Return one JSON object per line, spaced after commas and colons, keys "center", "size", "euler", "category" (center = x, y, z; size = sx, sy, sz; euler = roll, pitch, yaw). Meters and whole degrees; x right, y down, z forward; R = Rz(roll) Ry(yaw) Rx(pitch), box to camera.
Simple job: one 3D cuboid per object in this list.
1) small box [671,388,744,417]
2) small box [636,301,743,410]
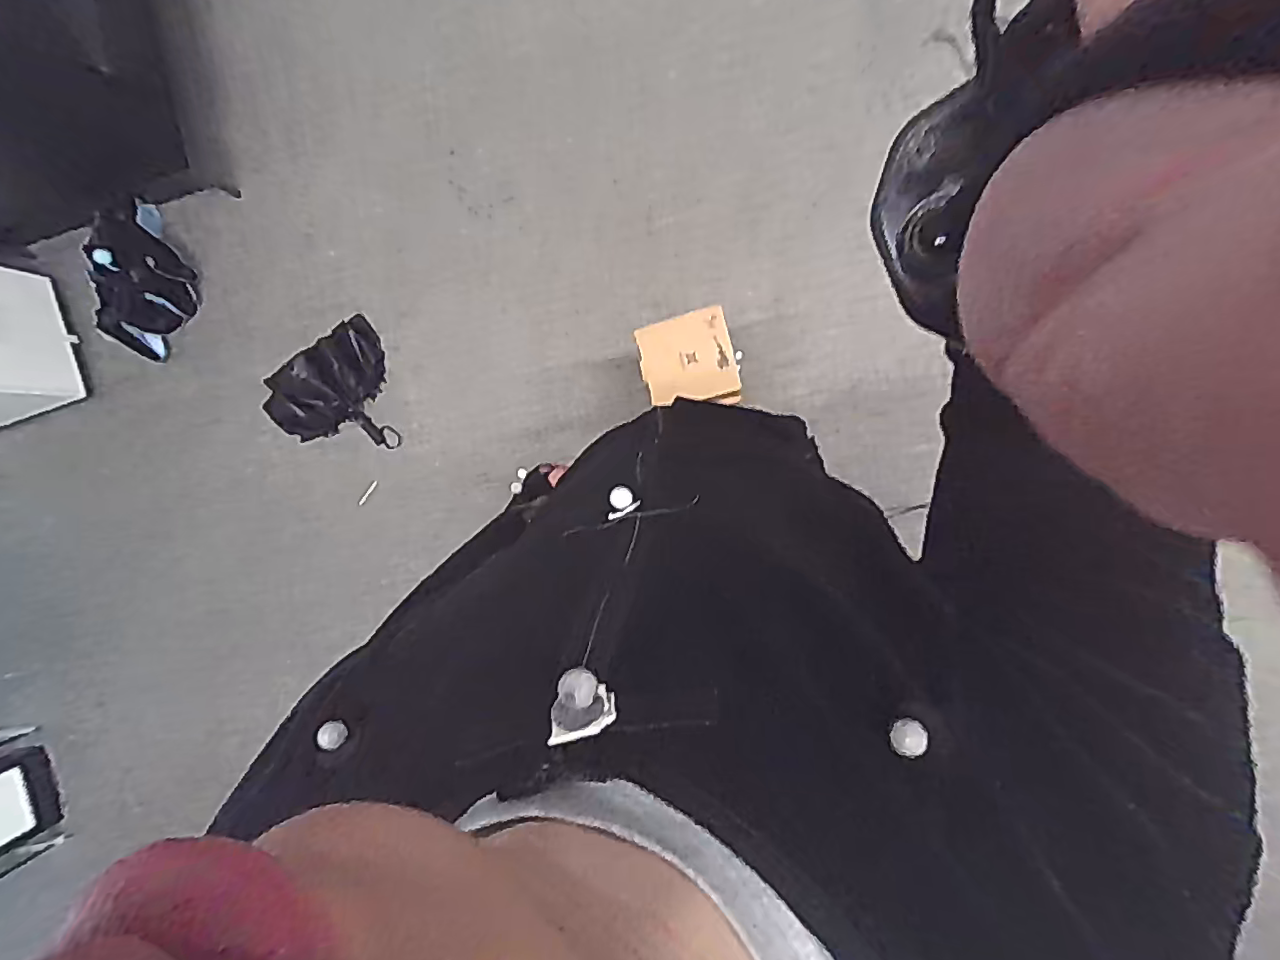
{"center": [0.144, -0.251, 1.270], "size": [0.168, 0.176, 0.179], "euler": [-14, 93, 12], "category": "small box"}
{"center": [0.109, -0.244, 1.110], "size": [0.179, 0.176, 0.168], "euler": [-14, 92, 12], "category": "small box"}
